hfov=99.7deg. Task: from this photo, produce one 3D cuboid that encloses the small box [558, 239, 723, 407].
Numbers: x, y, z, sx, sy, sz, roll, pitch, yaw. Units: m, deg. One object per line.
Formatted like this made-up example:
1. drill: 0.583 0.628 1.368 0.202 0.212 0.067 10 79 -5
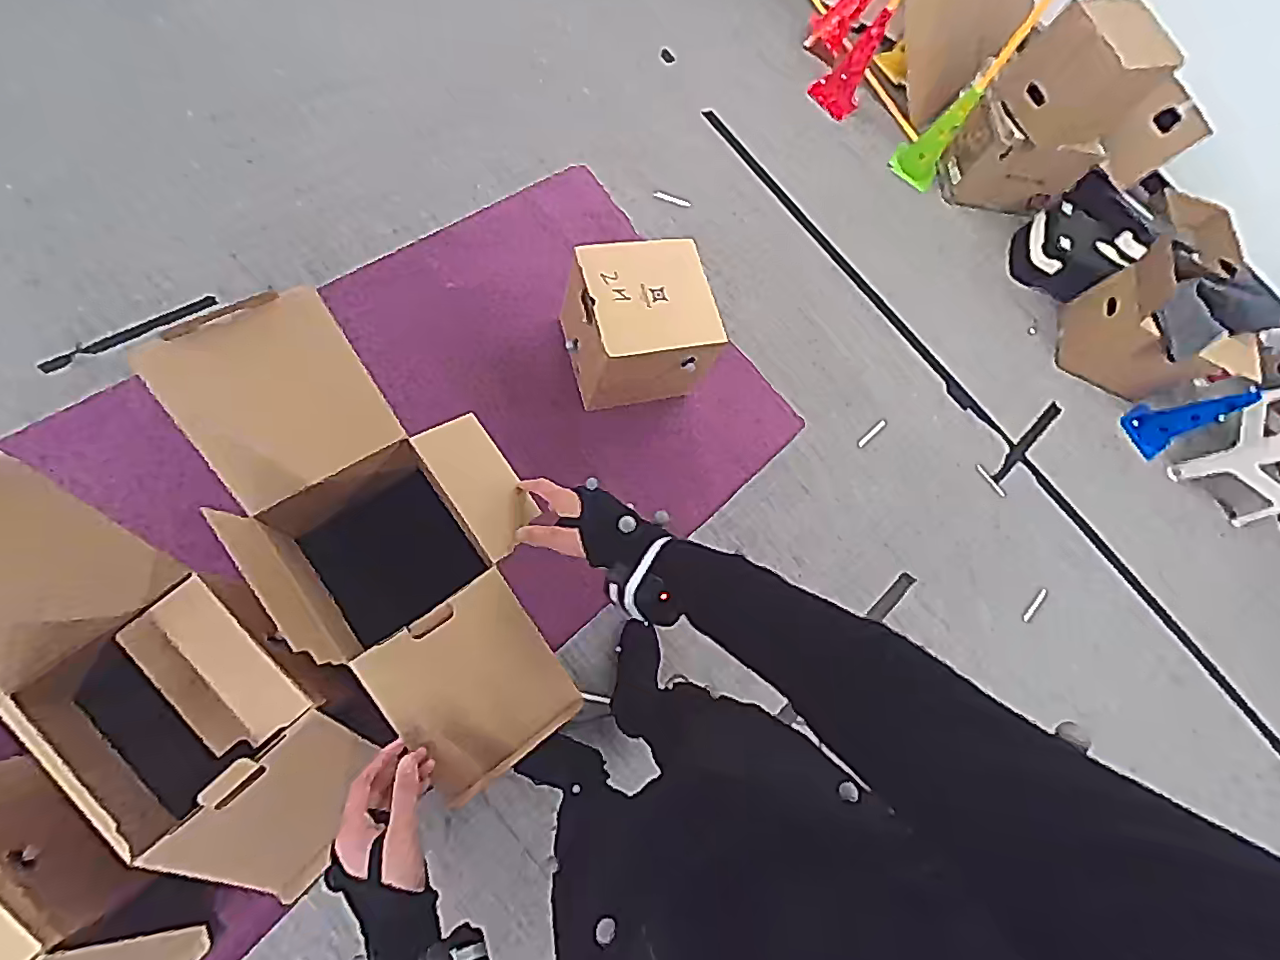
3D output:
1. small box: -0.009 -0.222 0.786 0.179 0.176 0.168 -12 77 -18
